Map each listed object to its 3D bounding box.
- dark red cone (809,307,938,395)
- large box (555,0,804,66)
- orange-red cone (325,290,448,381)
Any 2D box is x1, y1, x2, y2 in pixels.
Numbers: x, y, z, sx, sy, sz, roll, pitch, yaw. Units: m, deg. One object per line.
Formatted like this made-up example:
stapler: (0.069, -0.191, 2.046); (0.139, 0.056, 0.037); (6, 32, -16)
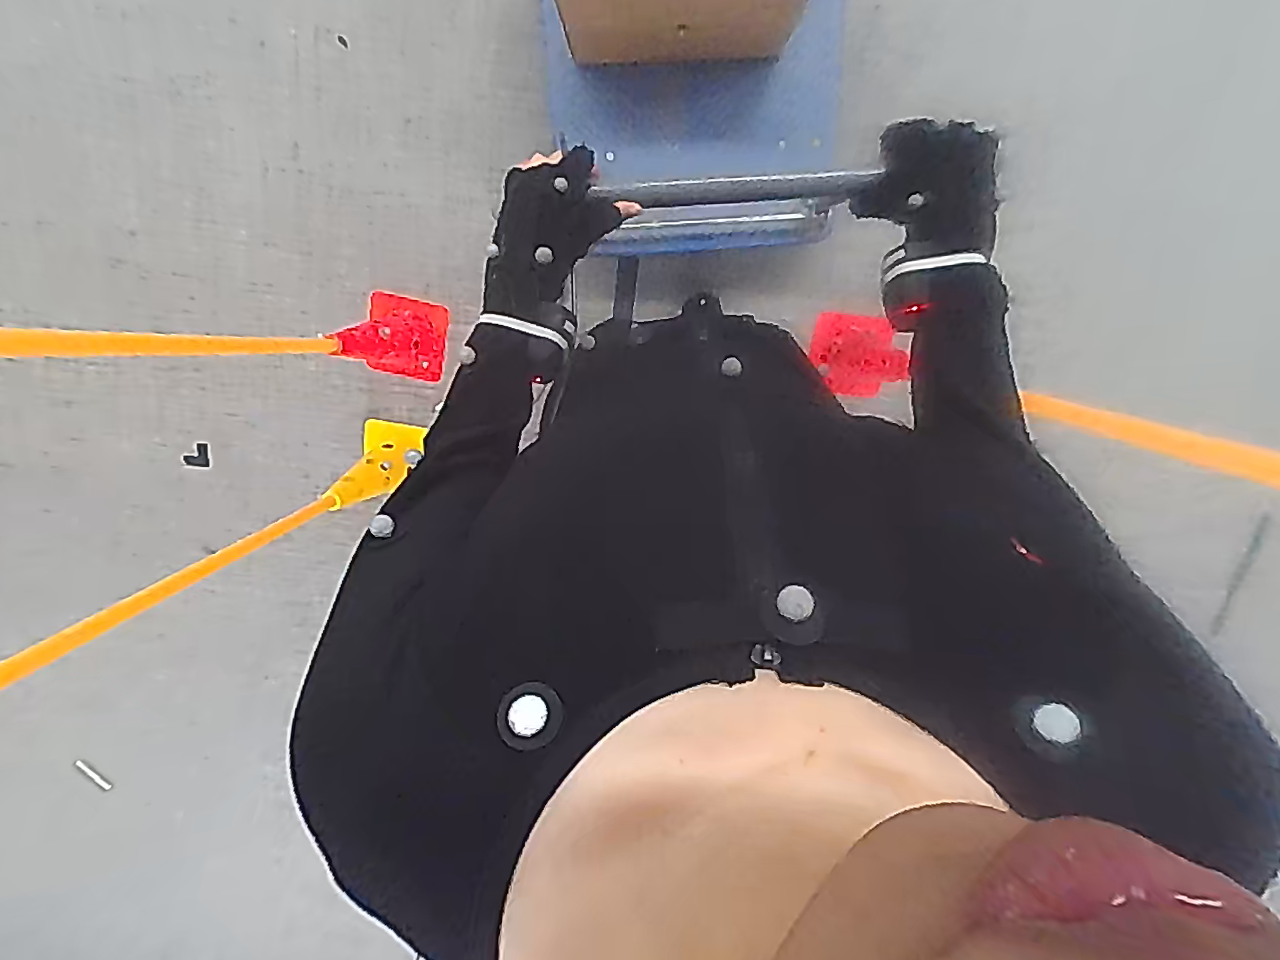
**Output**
dark red cone: (0.535, -0.274, 1.198); (0.201, 0.394, 0.202); (6, 107, -3)
large box: (0.063, -0.921, 0.878); (0.408, 0.320, 0.320); (-2, 108, 2)
orange-red cone: (-0.598, -0.320, 1.219); (0.198, 0.360, 0.199); (13, 105, -4)
